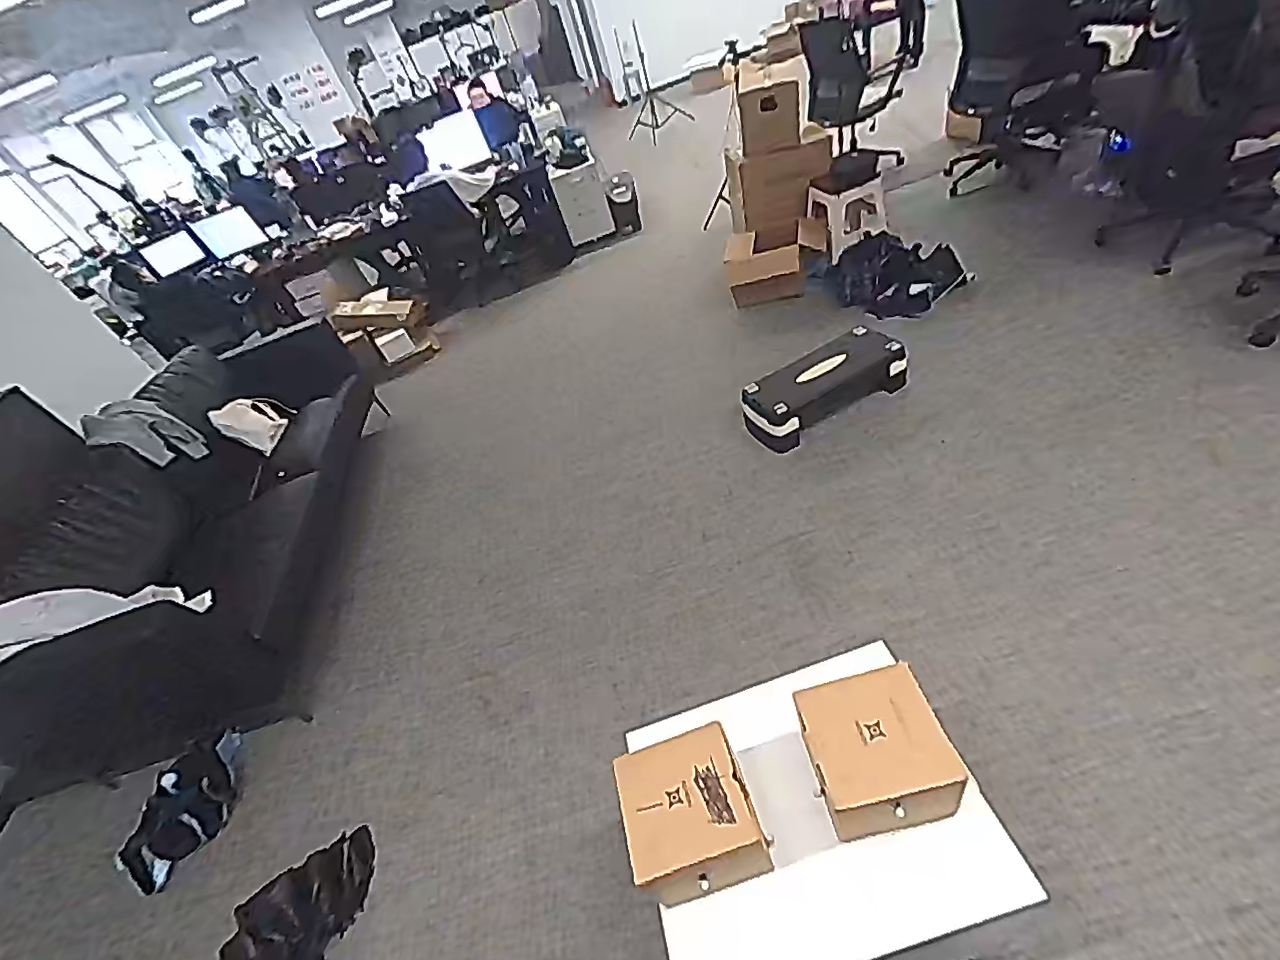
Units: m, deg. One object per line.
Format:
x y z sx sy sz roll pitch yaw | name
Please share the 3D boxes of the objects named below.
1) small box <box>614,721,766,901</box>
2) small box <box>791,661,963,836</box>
0.079 0.498 0.813 0.179 0.176 0.168 -21 41 2 | small box
0.343 0.402 0.802 0.179 0.176 0.168 -18 43 5 | small box
